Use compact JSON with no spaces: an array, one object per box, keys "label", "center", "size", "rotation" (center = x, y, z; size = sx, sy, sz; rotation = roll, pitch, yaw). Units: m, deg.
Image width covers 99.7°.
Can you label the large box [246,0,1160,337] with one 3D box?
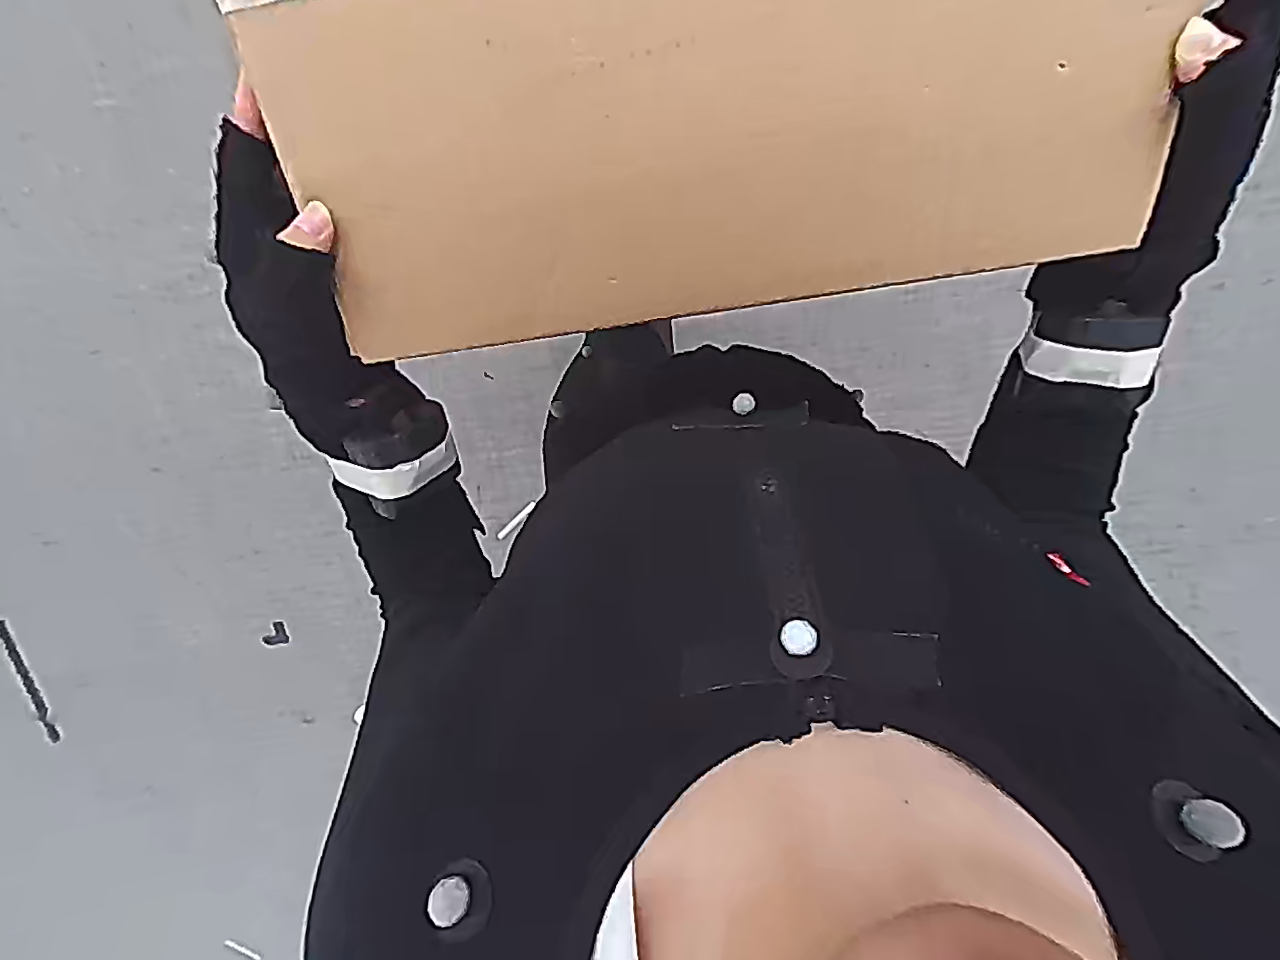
[{"label":"large box","center":[0.019,-0.307,0.354],"size":[0.408,0.320,0.320],"rotation":[-8,117,2]}]
